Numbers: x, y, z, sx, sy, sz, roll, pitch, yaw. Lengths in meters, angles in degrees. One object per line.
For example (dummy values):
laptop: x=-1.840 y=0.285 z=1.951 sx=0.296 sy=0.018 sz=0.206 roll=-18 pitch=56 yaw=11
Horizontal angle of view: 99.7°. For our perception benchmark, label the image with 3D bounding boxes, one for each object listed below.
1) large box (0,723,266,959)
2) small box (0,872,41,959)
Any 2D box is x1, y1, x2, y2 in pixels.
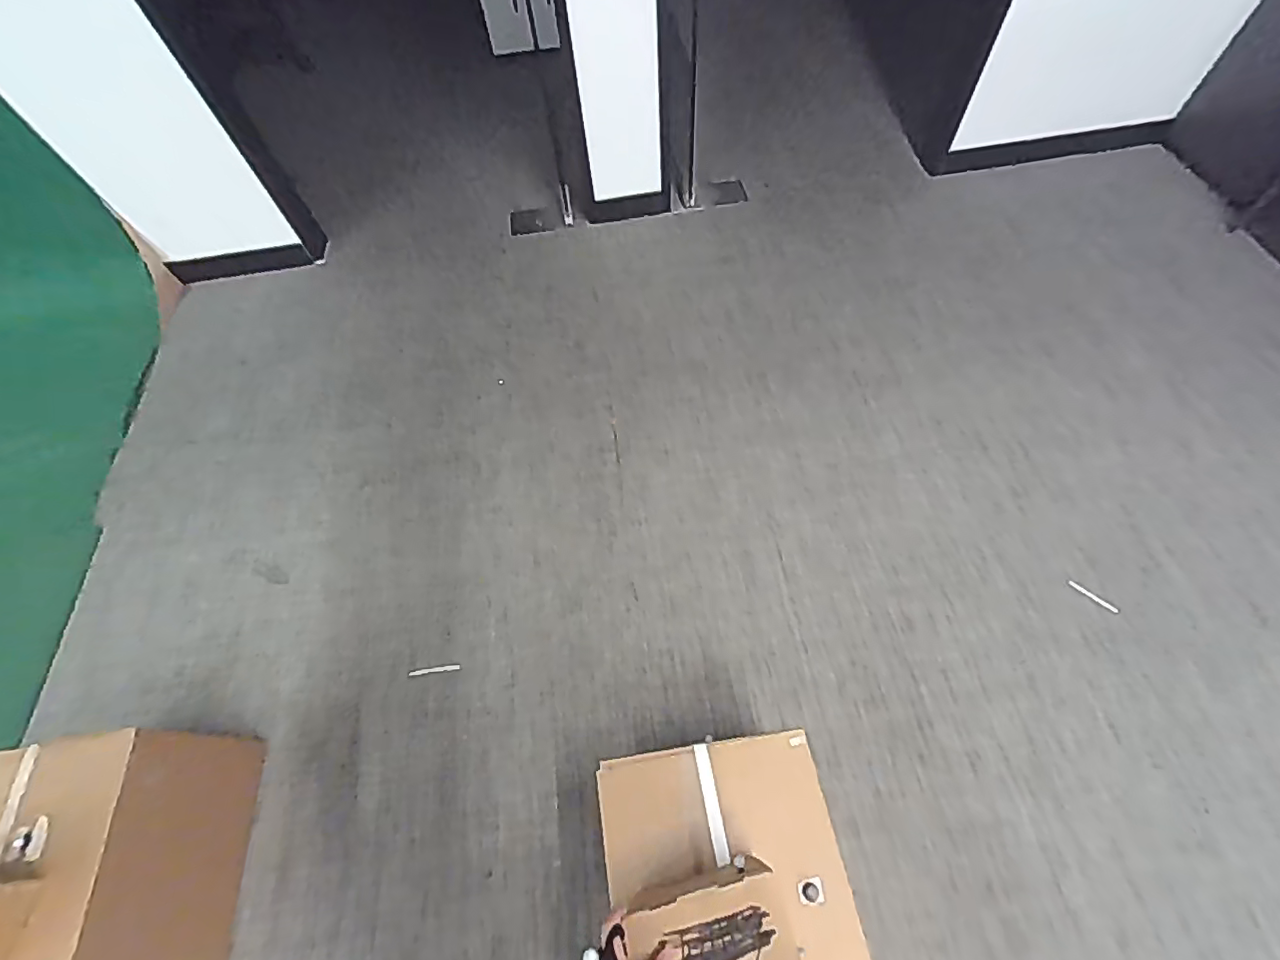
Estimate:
large box: x=-0.891 y=0.655 z=0.885 sx=0.320 sy=0.320 sz=0.408 roll=-10 pitch=60 yaw=-1
small box: x=-0.905 y=0.583 z=0.648 sx=0.168 sy=0.176 sz=0.179 roll=0 pitch=61 yaw=5
